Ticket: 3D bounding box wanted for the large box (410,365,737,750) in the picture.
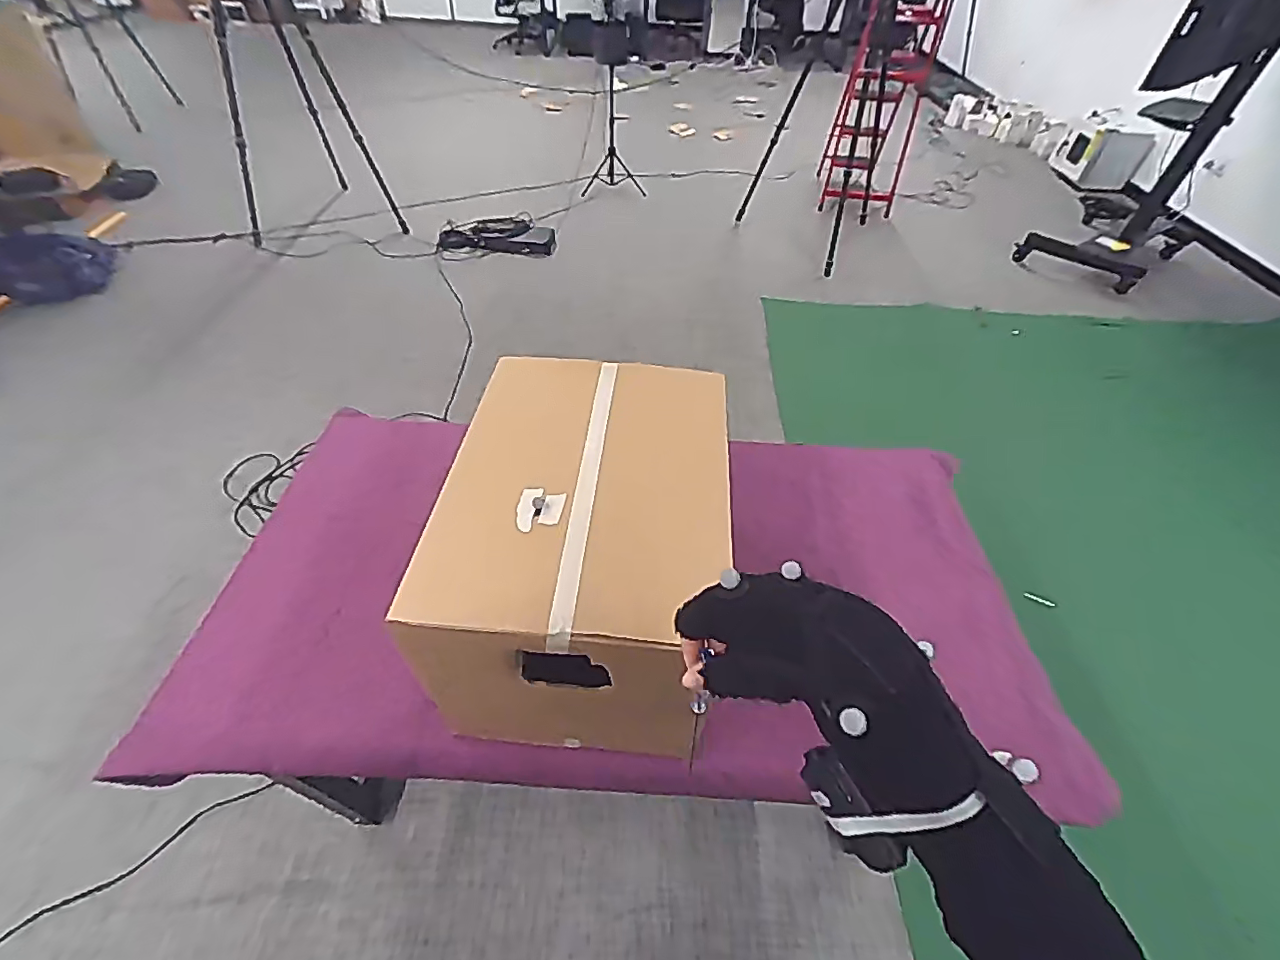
[{"bbox_3d":[-0.058,0.099,0.737,0.320,0.320,0.408,5,48,1],"label":"large box"}]
